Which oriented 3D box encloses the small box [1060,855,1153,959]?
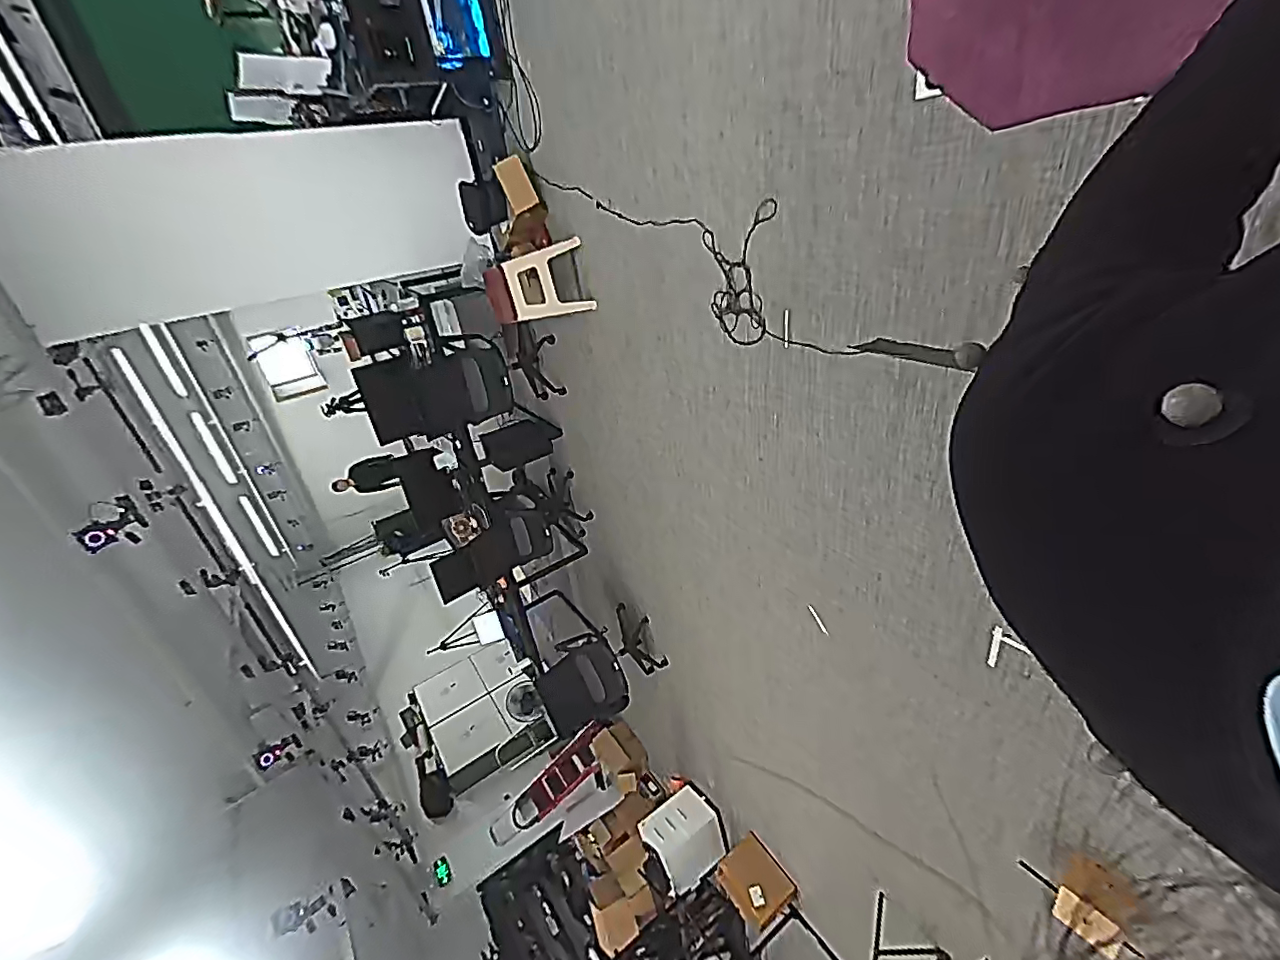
[{"bbox_3d":[1.466,1.344,1.700,0.168,0.176,0.179,25,133,52],"label":"small box"}]
